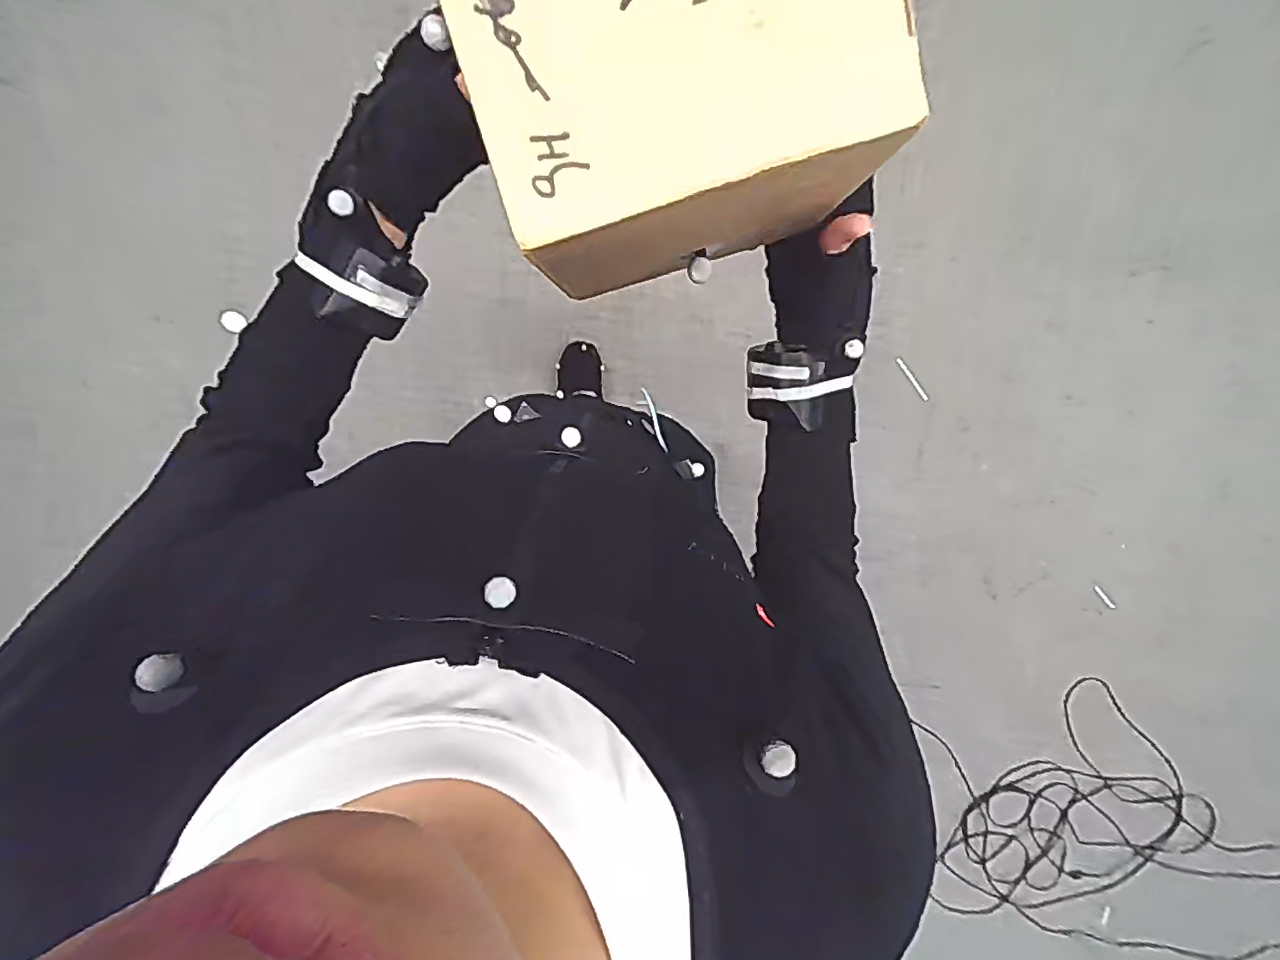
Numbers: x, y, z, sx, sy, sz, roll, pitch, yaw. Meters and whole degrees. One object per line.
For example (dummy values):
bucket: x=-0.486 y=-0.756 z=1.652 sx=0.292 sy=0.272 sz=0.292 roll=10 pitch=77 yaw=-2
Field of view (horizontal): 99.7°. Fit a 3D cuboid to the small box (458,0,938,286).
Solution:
small box: x=0.015 y=-0.216 z=0.282 sx=0.179 sy=0.176 sz=0.168 roll=-15 pitch=100 yaw=4
